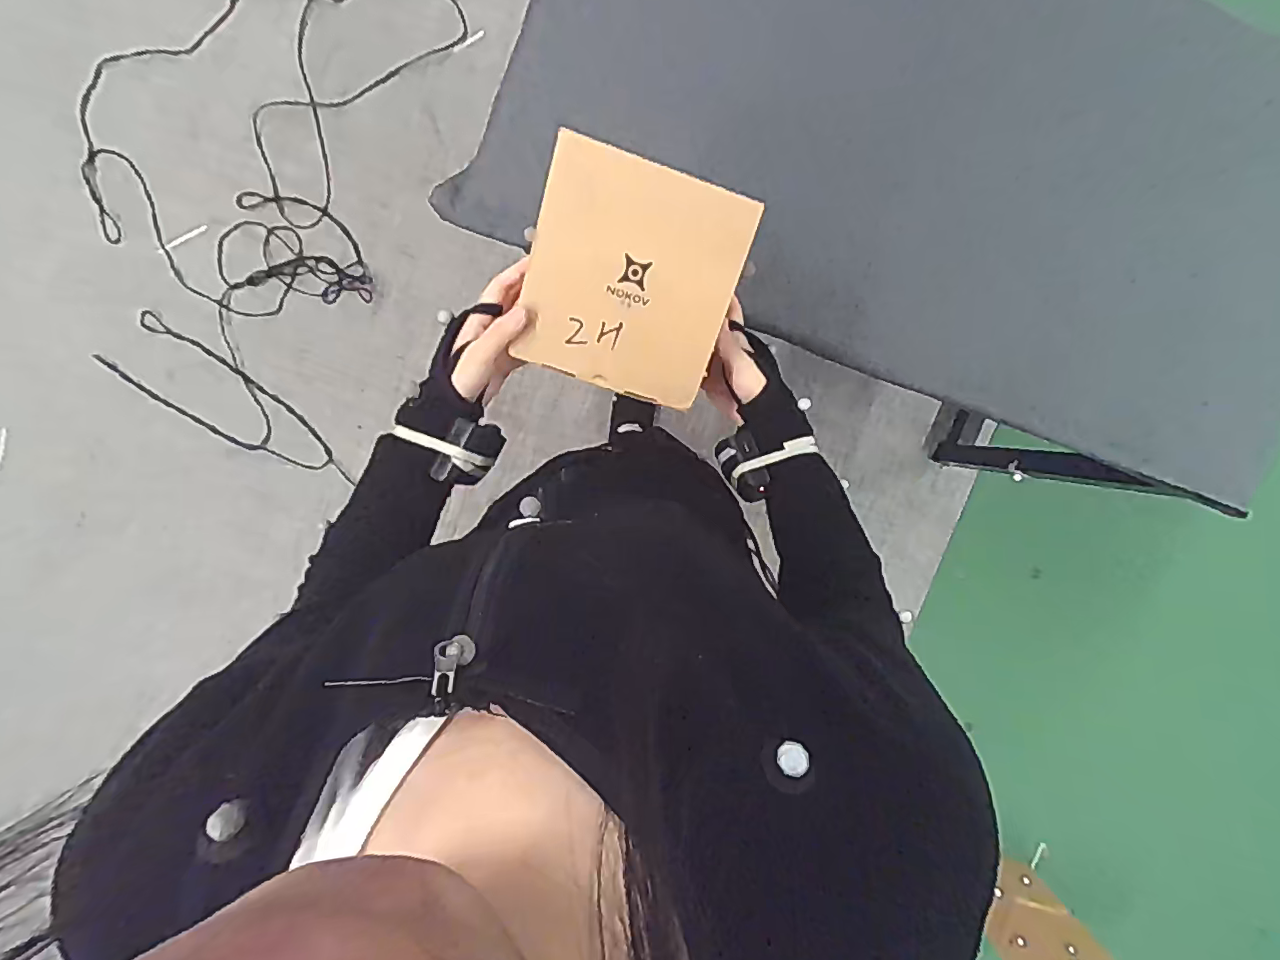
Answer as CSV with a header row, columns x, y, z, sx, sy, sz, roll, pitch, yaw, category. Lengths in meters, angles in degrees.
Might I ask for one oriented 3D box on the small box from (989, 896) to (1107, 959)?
x,y,z,sx,sy,sz,roll,pitch,yaw,category
1.090,1.266,1.447,0.179,0.176,0.168,15,96,-5,small box
